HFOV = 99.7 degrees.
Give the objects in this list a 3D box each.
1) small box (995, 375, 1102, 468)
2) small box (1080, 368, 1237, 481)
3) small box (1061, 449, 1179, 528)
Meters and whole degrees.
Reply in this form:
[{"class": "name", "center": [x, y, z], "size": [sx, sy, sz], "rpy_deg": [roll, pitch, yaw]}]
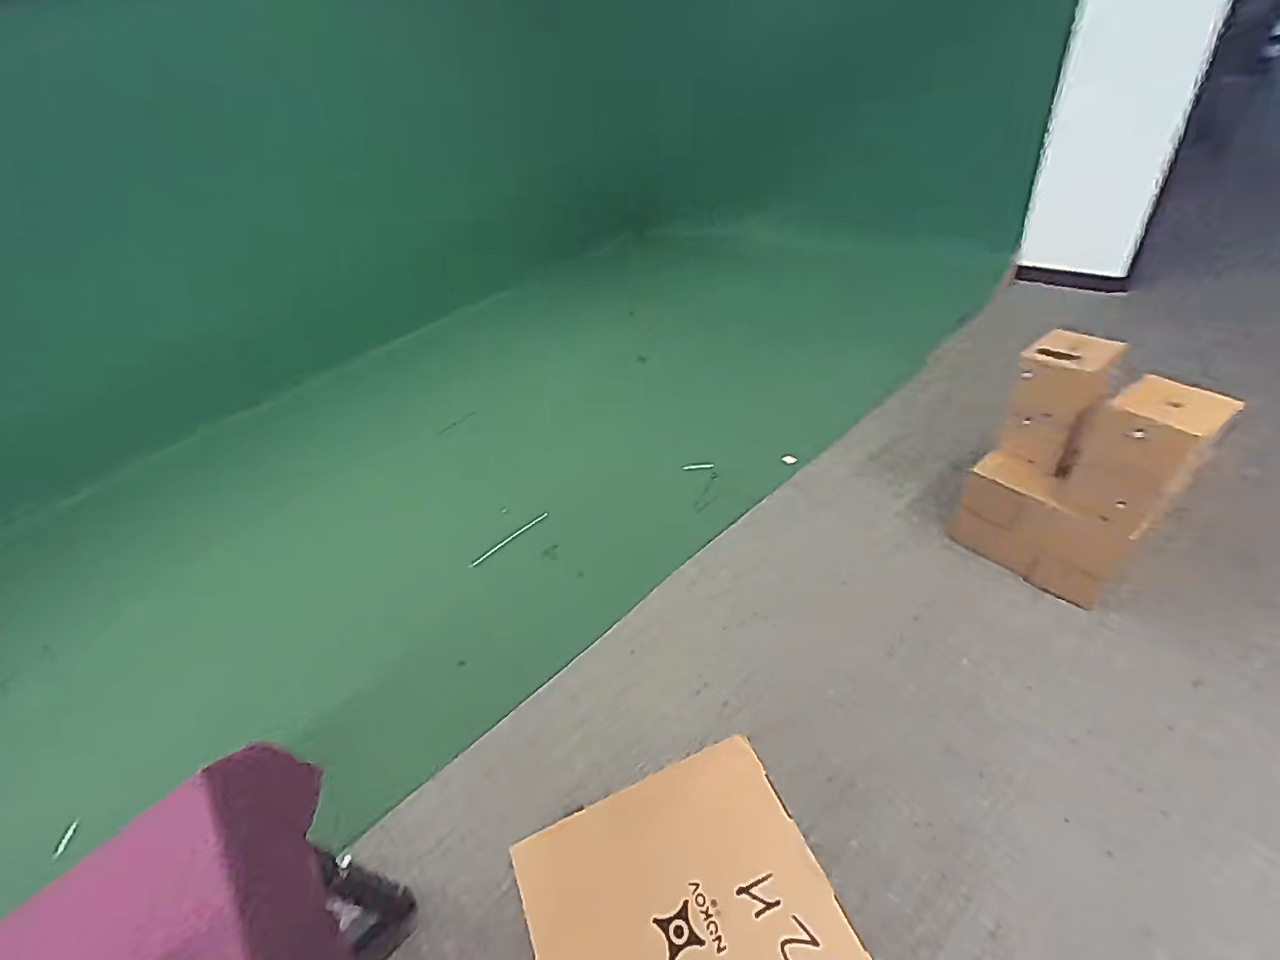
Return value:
[{"class": "small box", "center": [1.147, -0.166, 1.533], "size": [0.179, 0.176, 0.168], "rpy_deg": [-30, 42, -19]}, {"class": "small box", "center": [1.163, -0.121, 1.227], "size": [0.168, 0.176, 0.179], "rpy_deg": [-30, 44, -17]}, {"class": "small box", "center": [1.194, -0.012, 1.344], "size": [0.179, 0.176, 0.168], "rpy_deg": [-30, 45, -18]}]
